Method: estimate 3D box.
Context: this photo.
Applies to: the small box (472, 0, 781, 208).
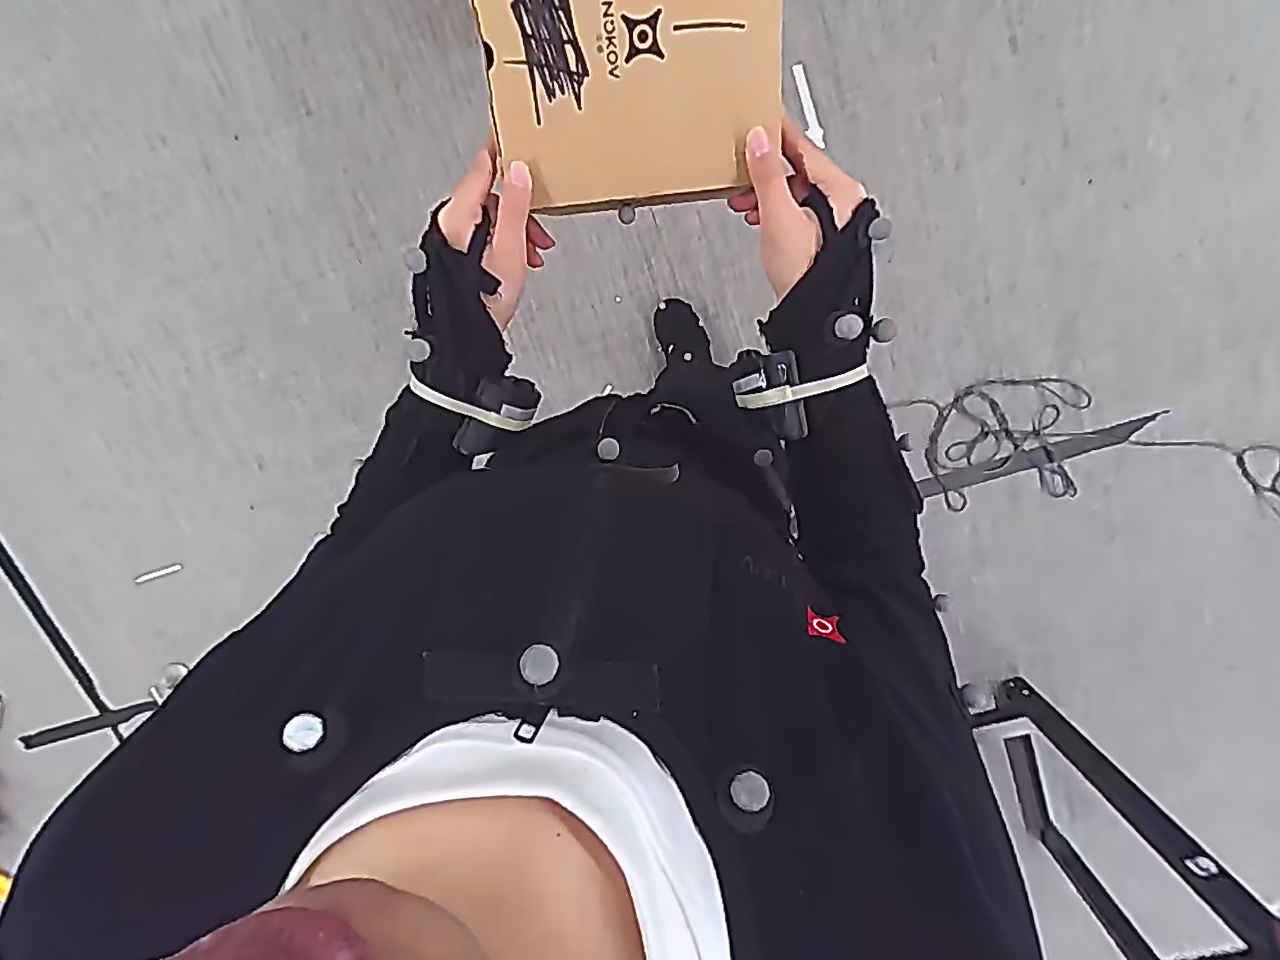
[{"bbox_3d":[-0.004,-0.291,0.378,0.179,0.176,0.168,-4,115,3],"label":"small box"}]
